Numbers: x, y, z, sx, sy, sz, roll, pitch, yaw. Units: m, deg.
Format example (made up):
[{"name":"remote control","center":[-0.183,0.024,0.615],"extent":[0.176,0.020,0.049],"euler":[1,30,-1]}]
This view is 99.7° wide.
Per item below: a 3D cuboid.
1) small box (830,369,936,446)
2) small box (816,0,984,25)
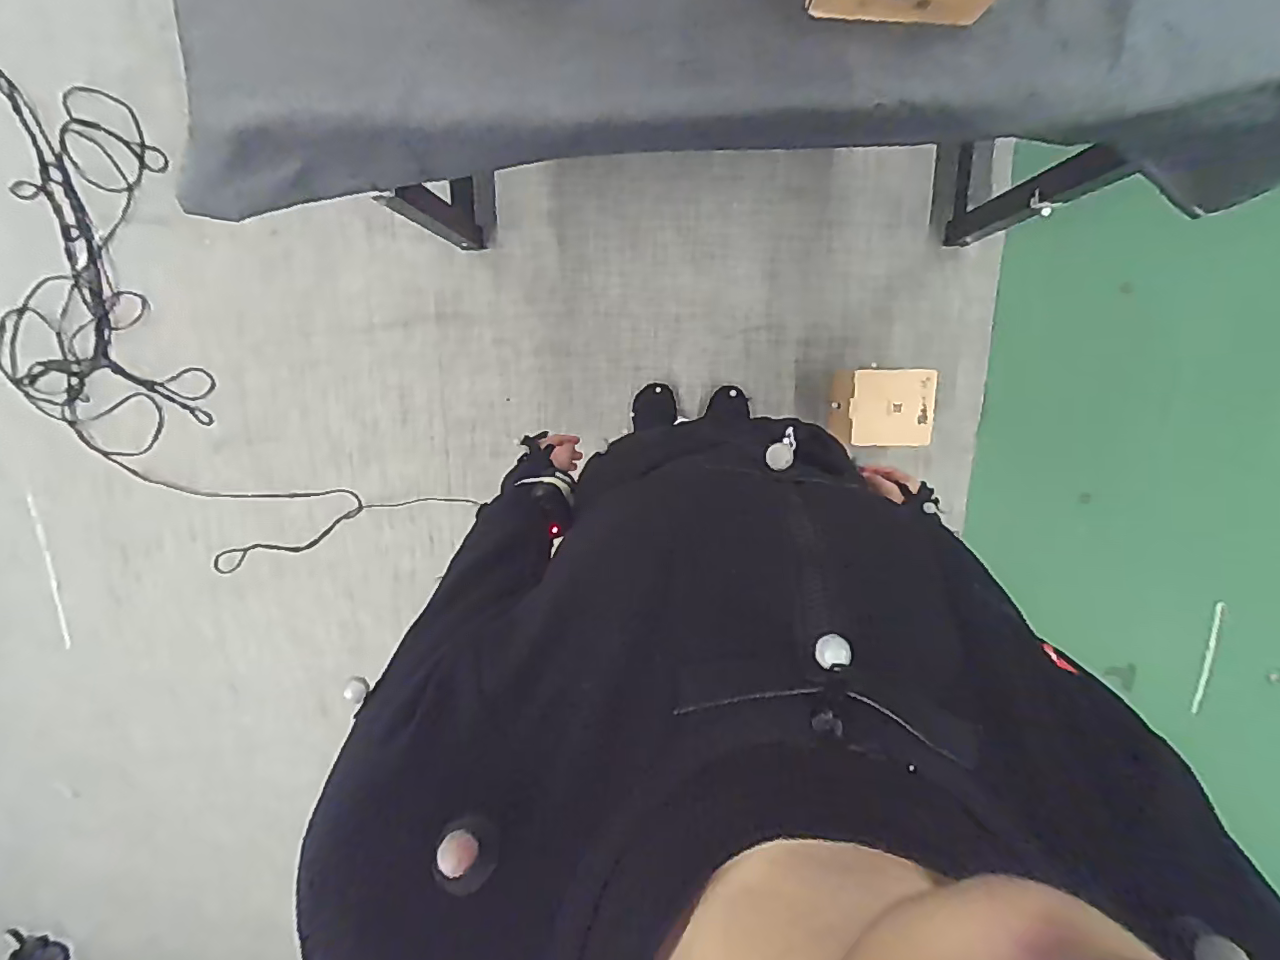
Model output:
[{"name":"small box","center":[0.544,-0.167,1.236],"extent":[0.179,0.176,0.168],"euler":[0,100,3]},{"name":"small box","center":[0.248,-0.526,0.439],"extent":[0.168,0.176,0.179],"euler":[4,101,2]}]
